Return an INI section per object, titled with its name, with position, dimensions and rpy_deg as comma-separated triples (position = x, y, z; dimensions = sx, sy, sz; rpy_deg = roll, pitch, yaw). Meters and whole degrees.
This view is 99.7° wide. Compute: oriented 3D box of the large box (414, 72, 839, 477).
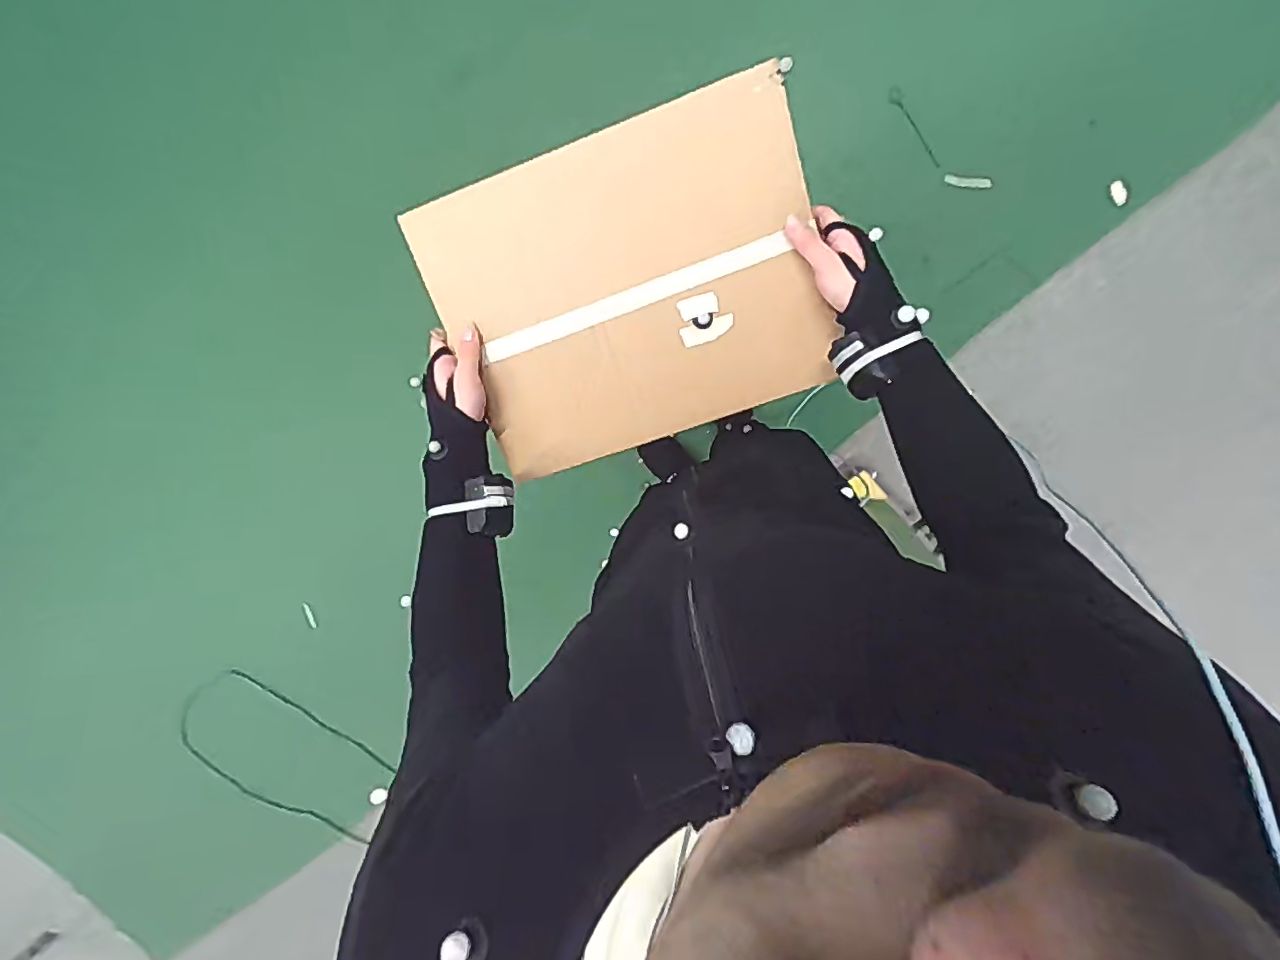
[large box]
position = -0.007, -0.244, 0.735
dimensions = 0.408, 0.320, 0.320
rpy_deg = -18, 107, 7
